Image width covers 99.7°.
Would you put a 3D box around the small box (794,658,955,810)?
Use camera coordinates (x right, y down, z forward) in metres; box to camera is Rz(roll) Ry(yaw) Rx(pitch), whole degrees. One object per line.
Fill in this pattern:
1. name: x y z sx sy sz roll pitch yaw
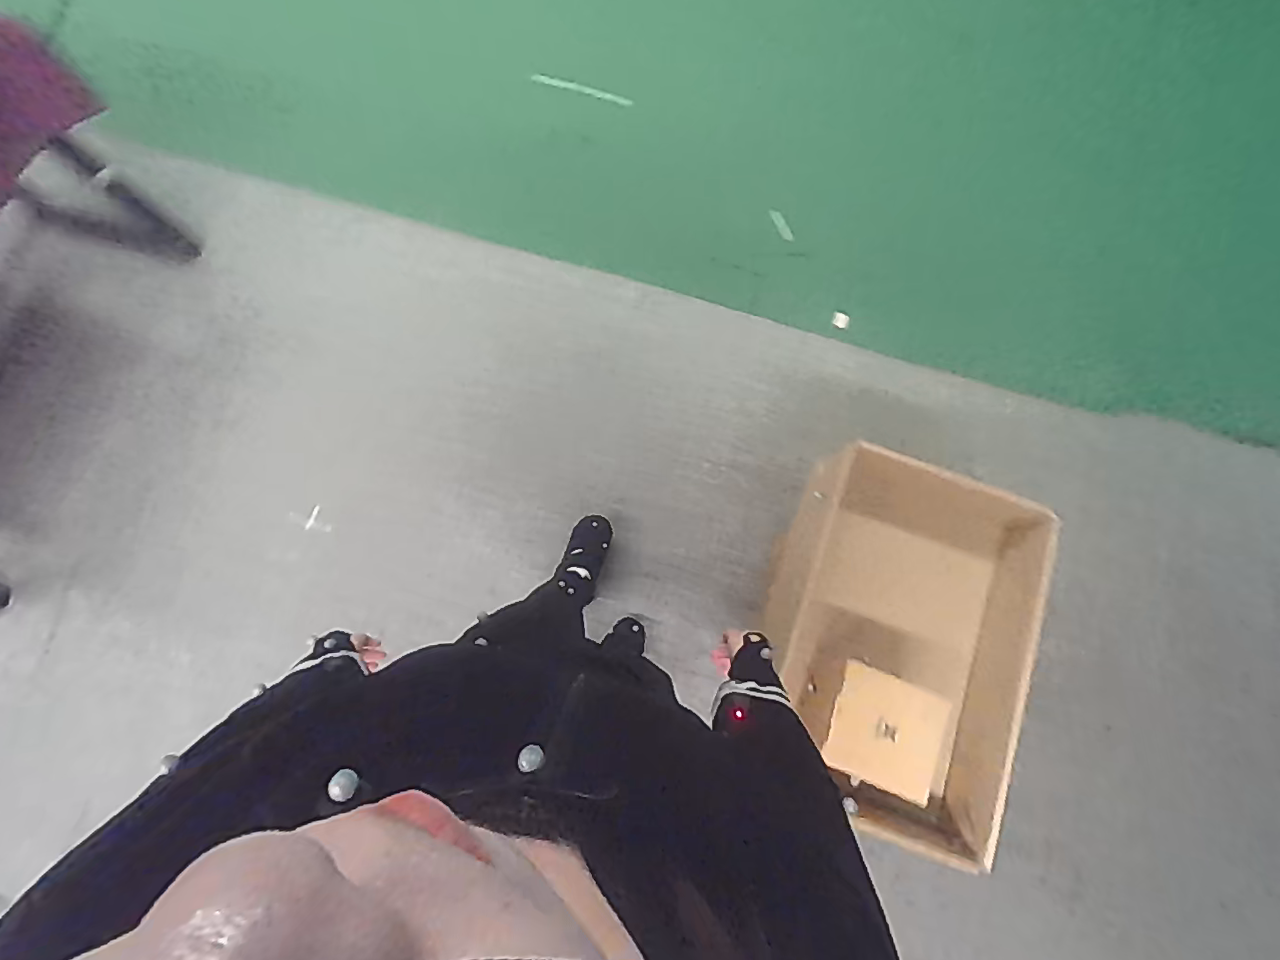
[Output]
1. small box: 0.389 0.418 0.925 0.179 0.176 0.168 22 78 5
